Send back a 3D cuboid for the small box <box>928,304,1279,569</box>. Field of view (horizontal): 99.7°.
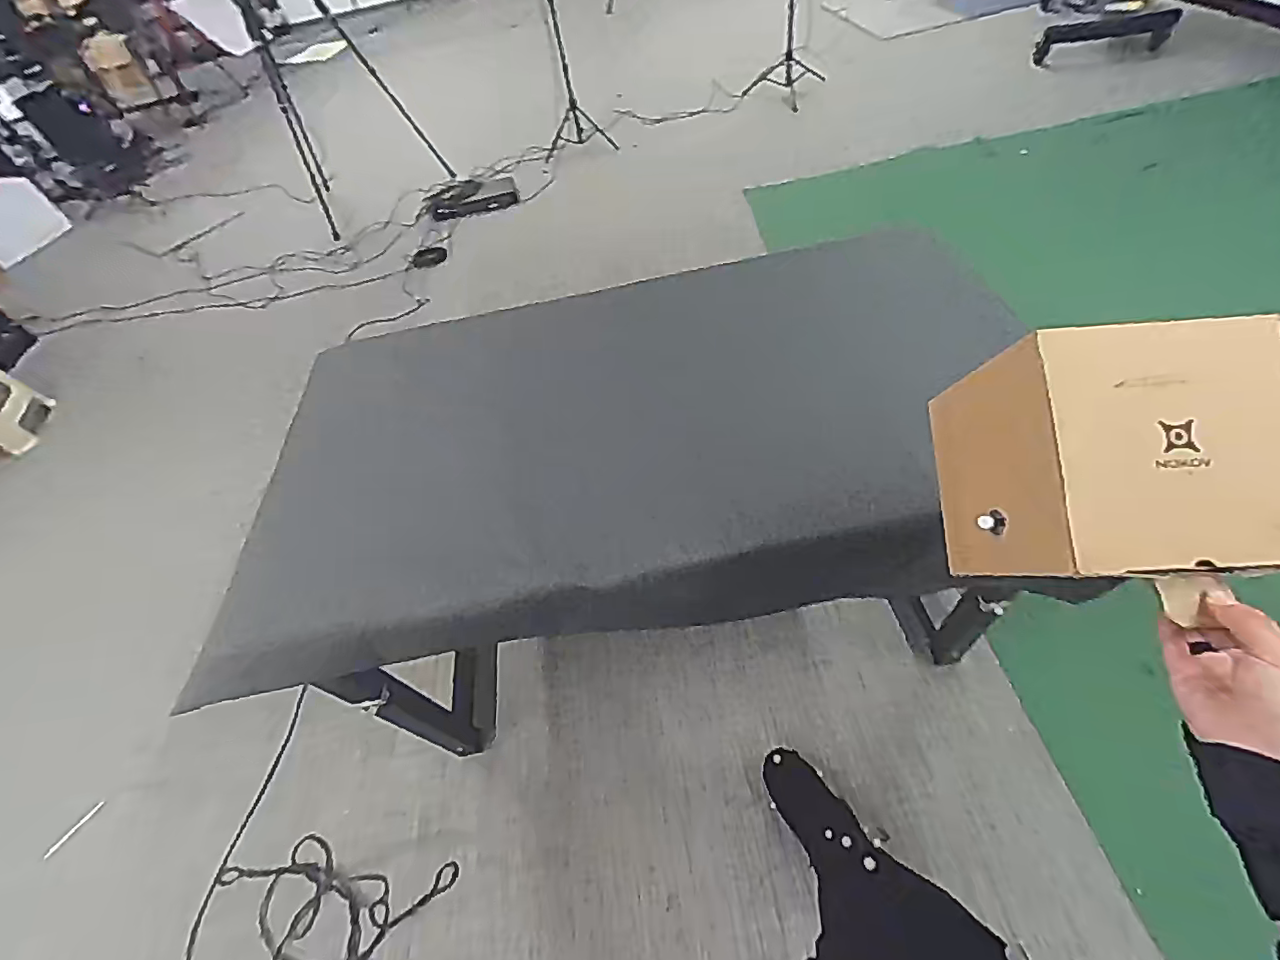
[{"bbox_3d":[0.364,-0.019,0.442,0.168,0.176,0.179,-4,79,3],"label":"small box"}]
